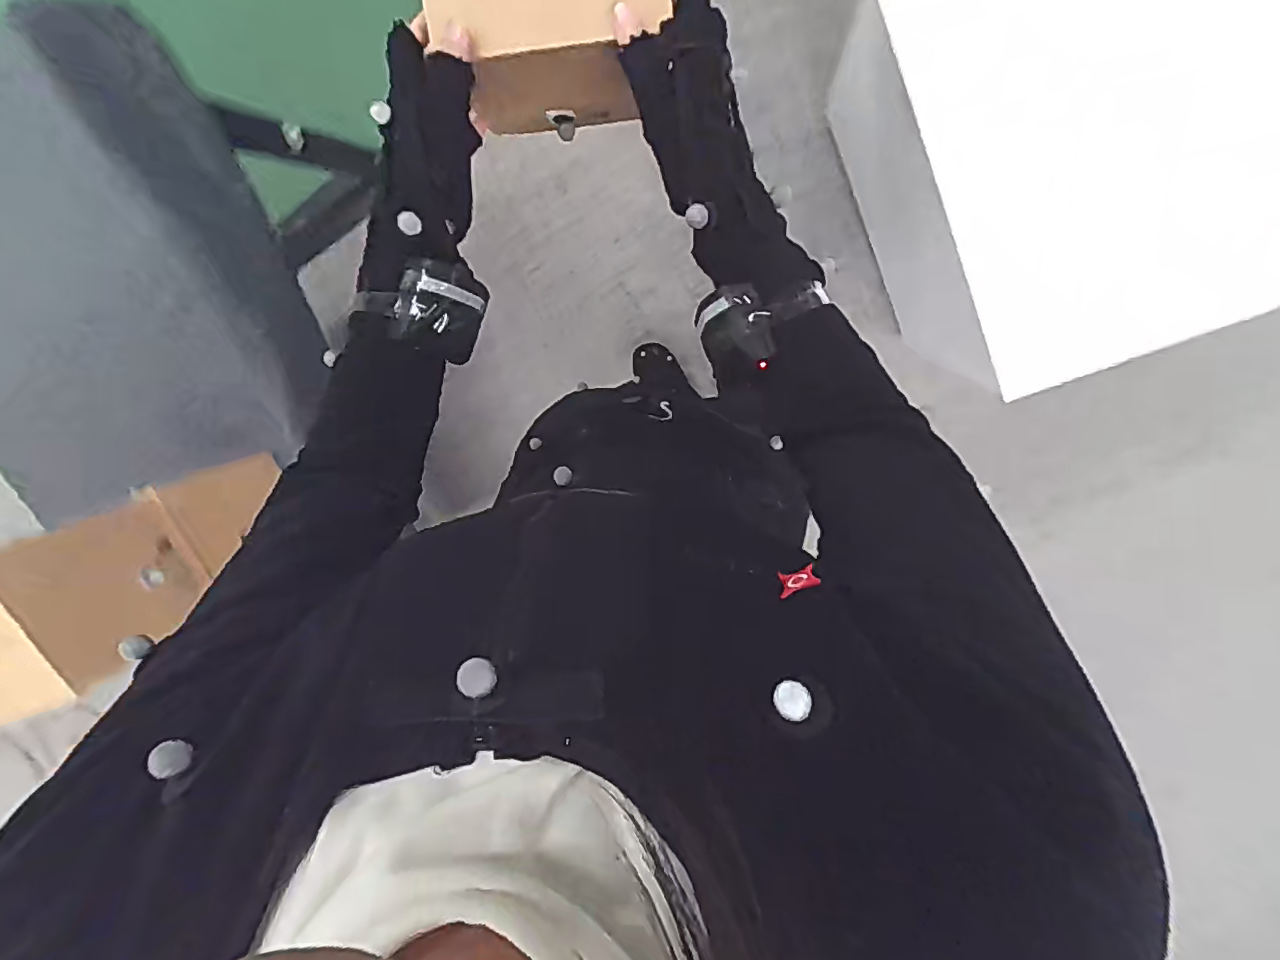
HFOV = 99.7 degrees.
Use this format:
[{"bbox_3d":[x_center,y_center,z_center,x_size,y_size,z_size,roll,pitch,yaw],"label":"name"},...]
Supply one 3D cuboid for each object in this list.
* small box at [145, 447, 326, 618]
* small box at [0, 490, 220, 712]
[{"bbox_3d":[-0.601,0.074,0.776,0.168,0.176,0.179,-19,105,21],"label":"small box"},{"bbox_3d":[-0.651,0.134,0.631,0.179,0.176,0.168,-23,102,24],"label":"small box"}]
